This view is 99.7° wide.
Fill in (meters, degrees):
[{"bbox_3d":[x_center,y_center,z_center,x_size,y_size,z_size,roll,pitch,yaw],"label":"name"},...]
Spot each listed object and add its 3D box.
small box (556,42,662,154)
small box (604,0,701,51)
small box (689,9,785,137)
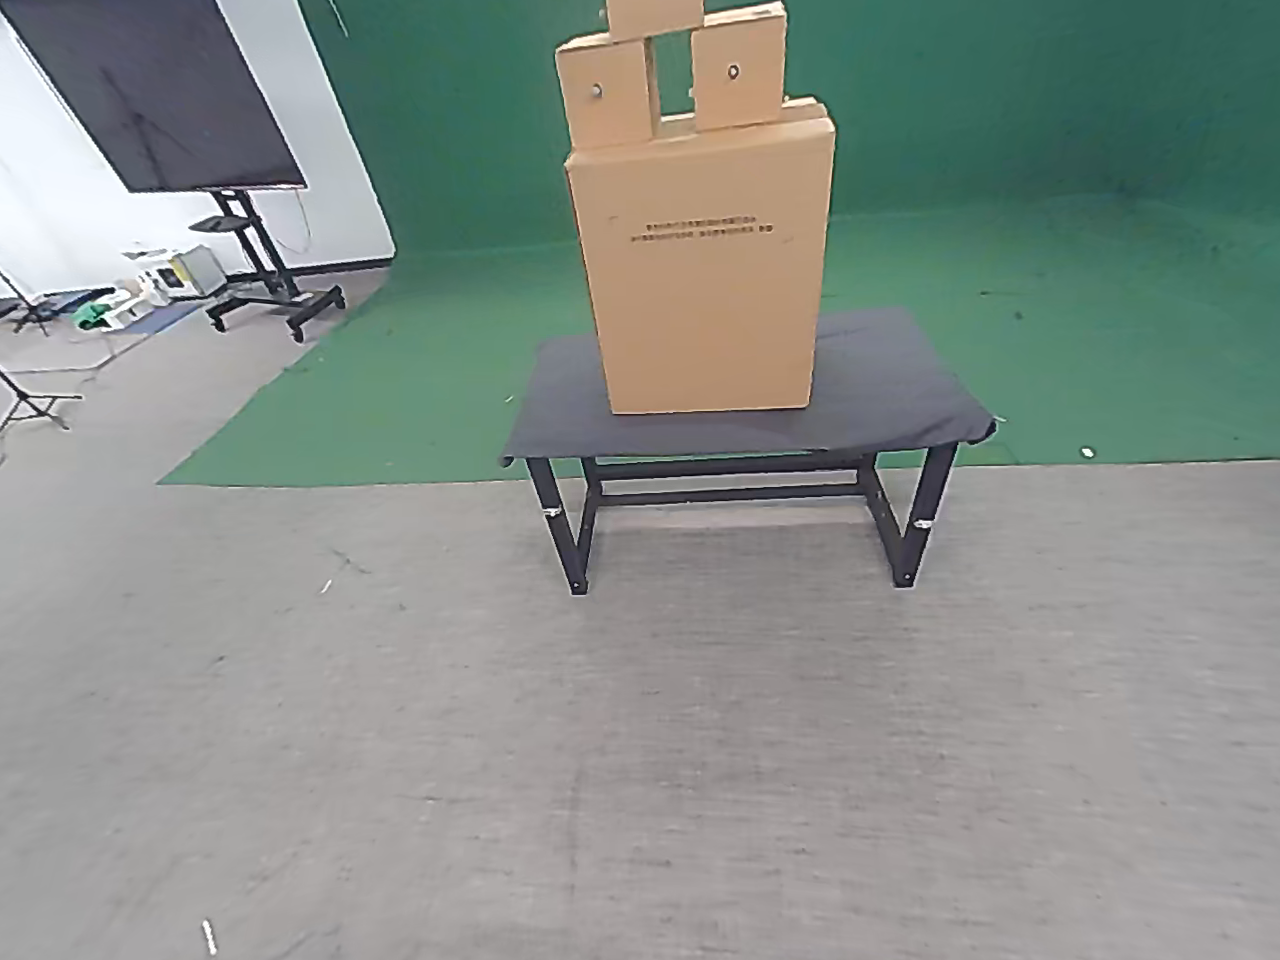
[{"bbox_3d":[-0.056,-0.803,1.134,0.179,0.176,0.168,0,46,11],"label":"small box"},{"bbox_3d":[0.018,-0.925,1.008,0.179,0.176,0.168,-9,43,4],"label":"small box"},{"bbox_3d":[0.199,-0.826,1.103,0.179,0.176,0.168,-1,46,12],"label":"small box"}]
